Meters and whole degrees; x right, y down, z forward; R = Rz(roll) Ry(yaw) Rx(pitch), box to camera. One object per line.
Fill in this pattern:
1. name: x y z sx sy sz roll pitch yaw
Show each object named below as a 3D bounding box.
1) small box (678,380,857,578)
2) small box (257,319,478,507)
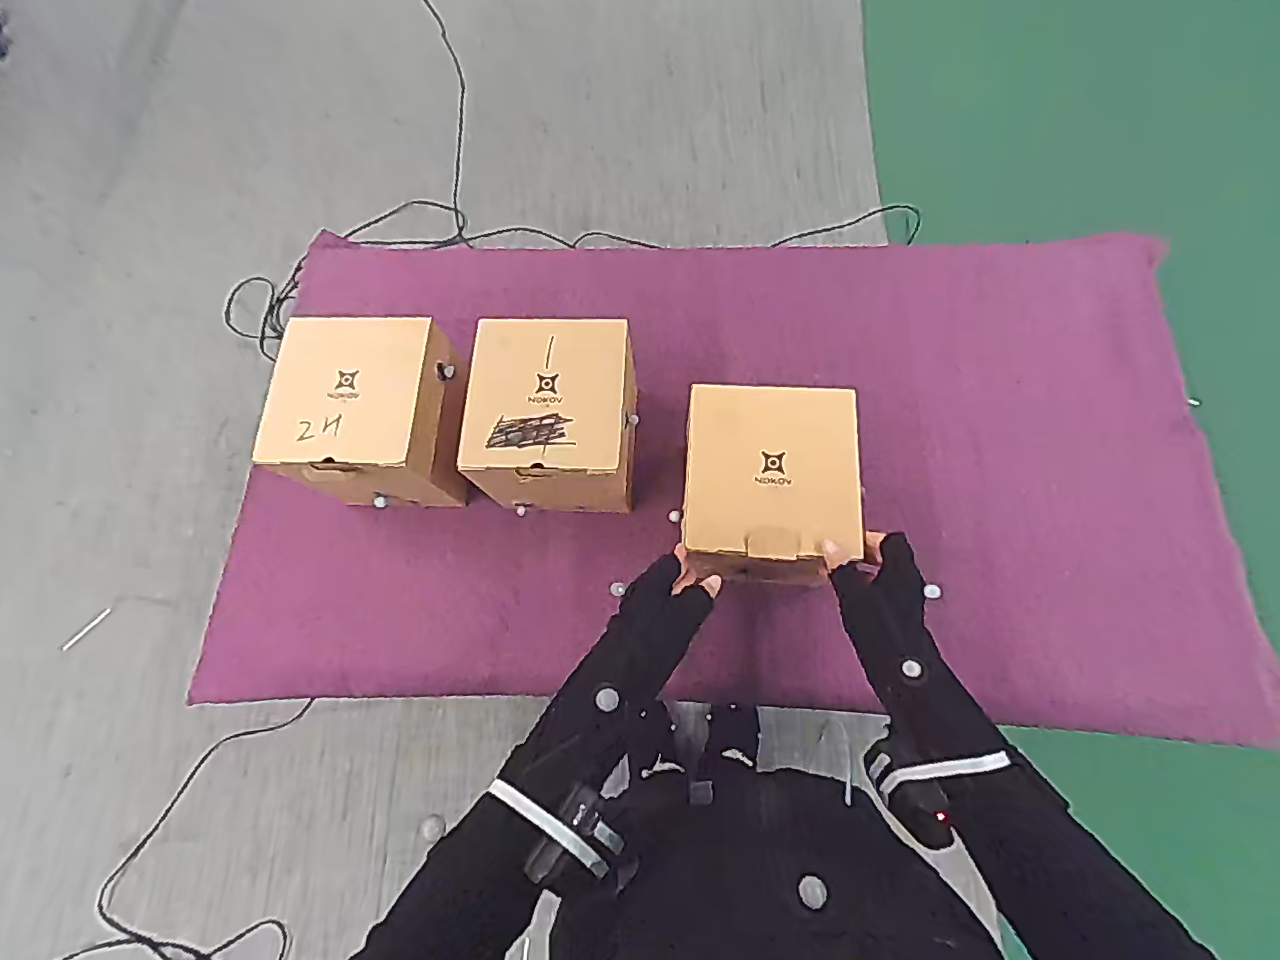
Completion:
1. small box: 0.130 0.007 0.605 0.168 0.176 0.179 3 74 5
2. small box: -0.309 -0.074 0.657 0.168 0.176 0.179 1 73 5
